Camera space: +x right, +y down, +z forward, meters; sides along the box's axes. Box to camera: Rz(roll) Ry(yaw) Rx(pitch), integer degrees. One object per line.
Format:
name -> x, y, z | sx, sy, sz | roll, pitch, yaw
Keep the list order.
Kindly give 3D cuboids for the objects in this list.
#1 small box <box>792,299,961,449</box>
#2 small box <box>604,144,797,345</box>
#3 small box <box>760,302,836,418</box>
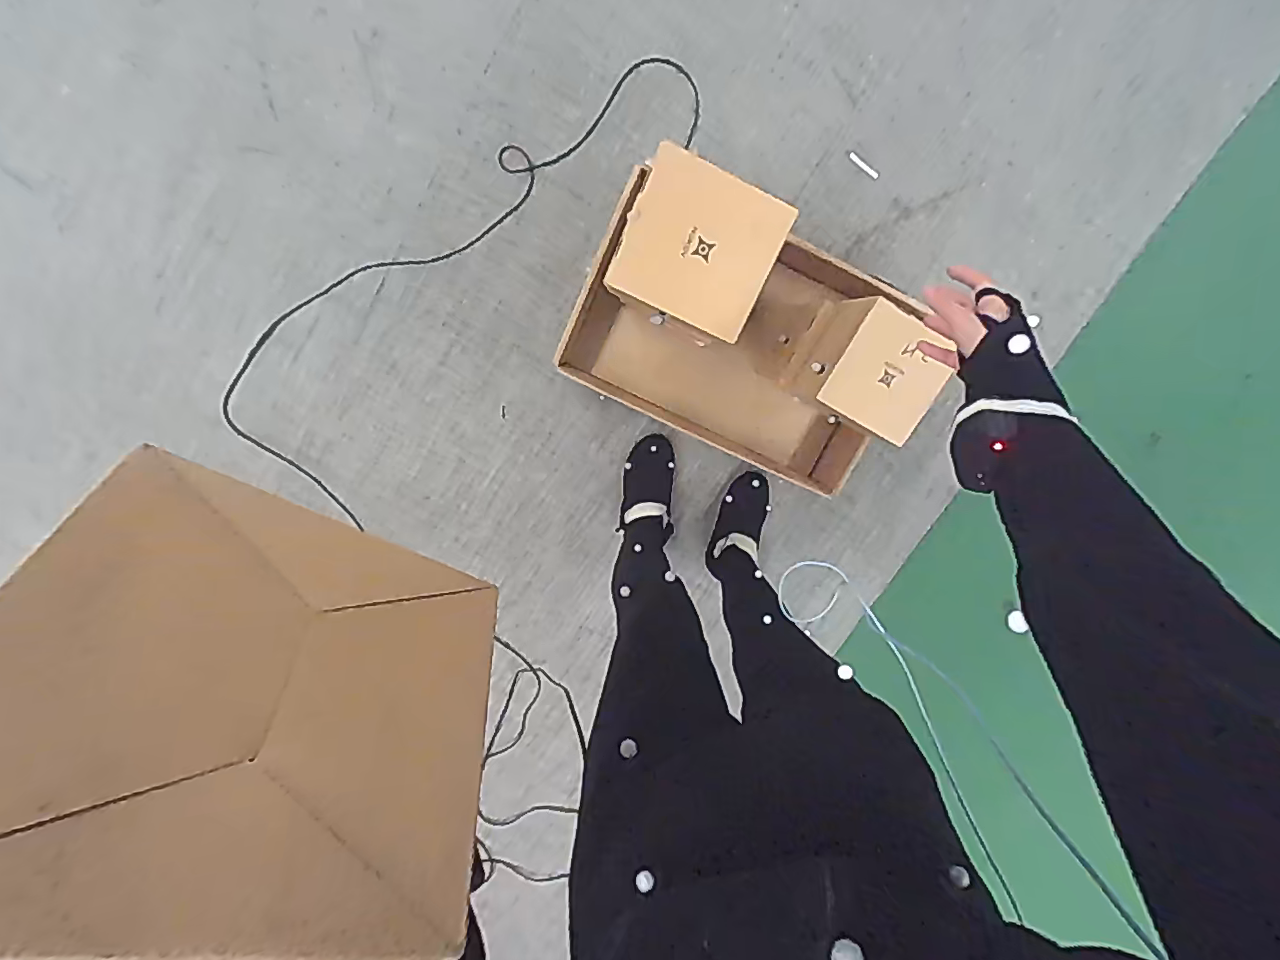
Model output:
small box -> 0.376, -0.177, 0.903 | 0.168, 0.176, 0.179 | 28, 101, -9
small box -> 0.069, -0.291, 0.703 | 0.179, 0.176, 0.168 | 24, 104, -6
small box -> 0.360, -0.225, 1.061 | 0.179, 0.176, 0.168 | 29, 102, -8
